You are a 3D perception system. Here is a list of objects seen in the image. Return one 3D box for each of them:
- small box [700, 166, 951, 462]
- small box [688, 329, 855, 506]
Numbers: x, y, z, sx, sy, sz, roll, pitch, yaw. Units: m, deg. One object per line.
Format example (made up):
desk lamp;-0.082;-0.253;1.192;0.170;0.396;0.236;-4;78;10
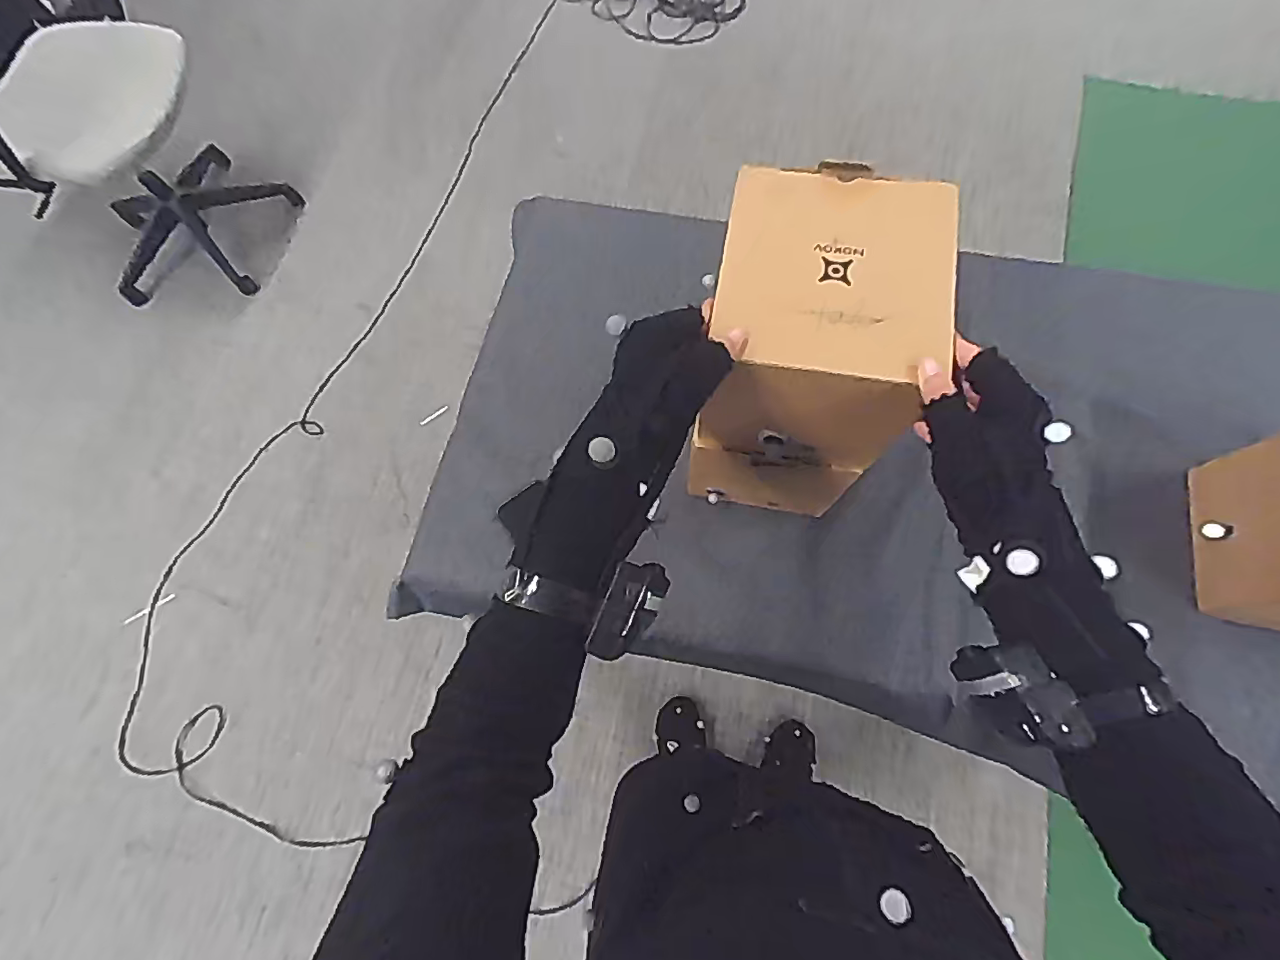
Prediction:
small box;0.146;-0.132;0.473;0.168;0.176;0.179;9;74;7
small box;0.149;-0.081;0.625;0.168;0.176;0.179;10;72;6
